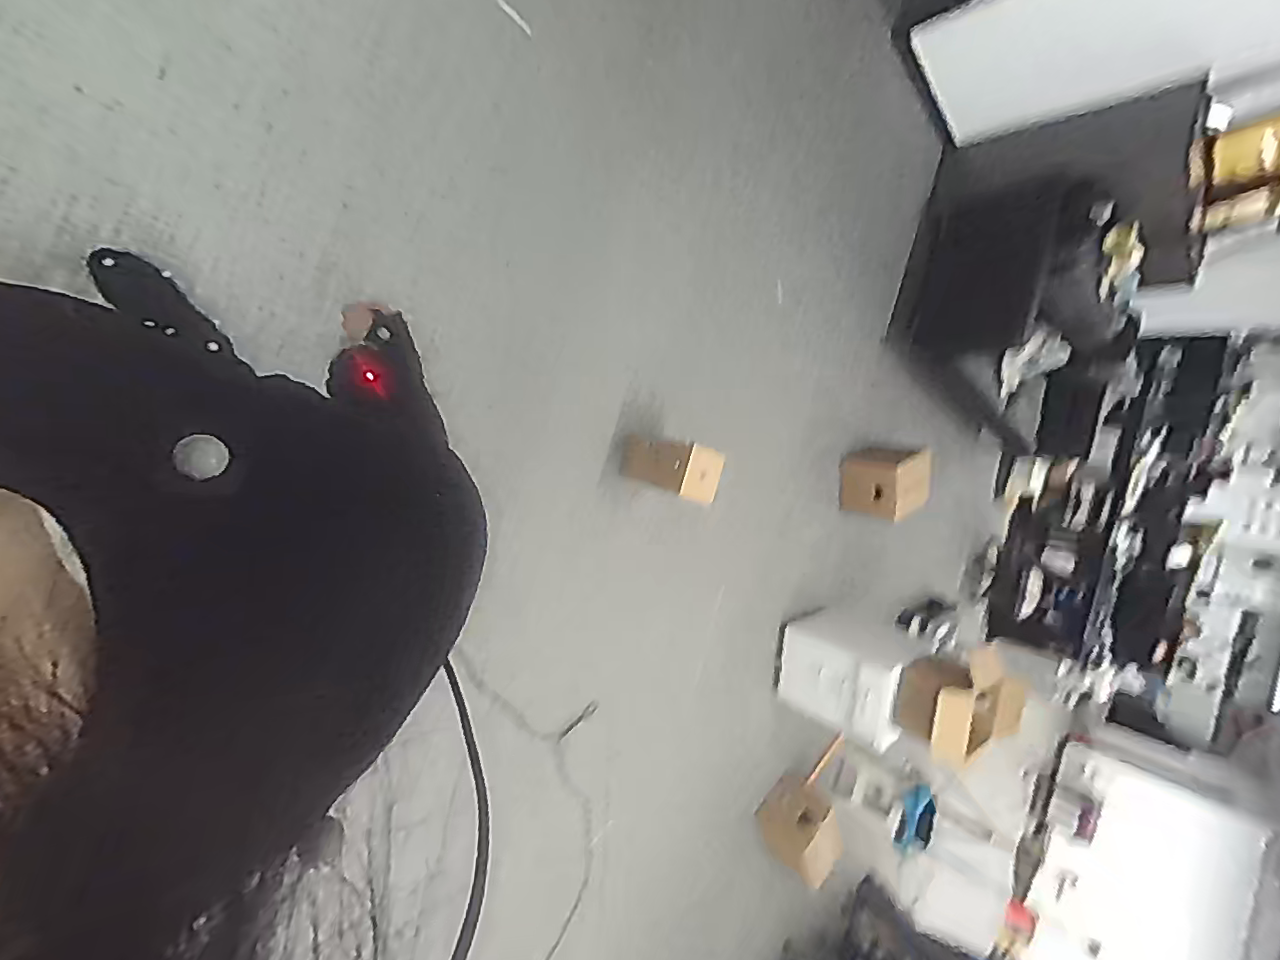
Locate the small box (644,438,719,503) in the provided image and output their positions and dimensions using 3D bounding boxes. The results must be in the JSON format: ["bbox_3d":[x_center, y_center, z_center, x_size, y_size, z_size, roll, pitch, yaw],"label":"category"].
[{"bbox_3d":[0.138,-0.035,1.839,0.168,0.176,0.179,18,88,-42],"label":"small box"}]
